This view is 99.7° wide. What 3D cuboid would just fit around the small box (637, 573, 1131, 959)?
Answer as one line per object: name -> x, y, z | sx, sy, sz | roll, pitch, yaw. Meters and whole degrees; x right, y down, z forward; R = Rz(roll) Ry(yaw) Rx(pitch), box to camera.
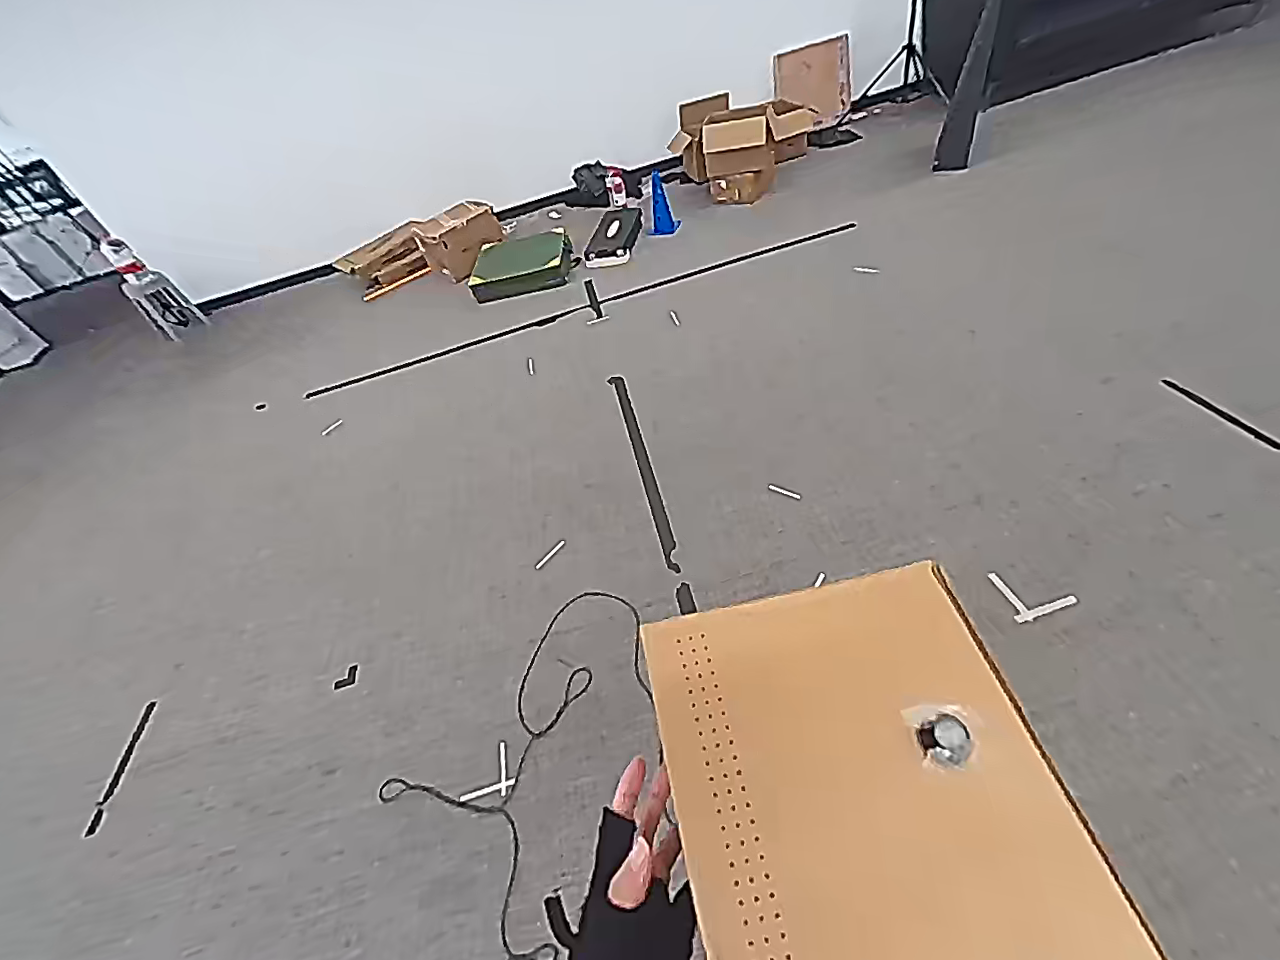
small box -> 0.099, 0.182, 0.315 | 0.176, 0.168, 0.179 | -13, 54, -1
